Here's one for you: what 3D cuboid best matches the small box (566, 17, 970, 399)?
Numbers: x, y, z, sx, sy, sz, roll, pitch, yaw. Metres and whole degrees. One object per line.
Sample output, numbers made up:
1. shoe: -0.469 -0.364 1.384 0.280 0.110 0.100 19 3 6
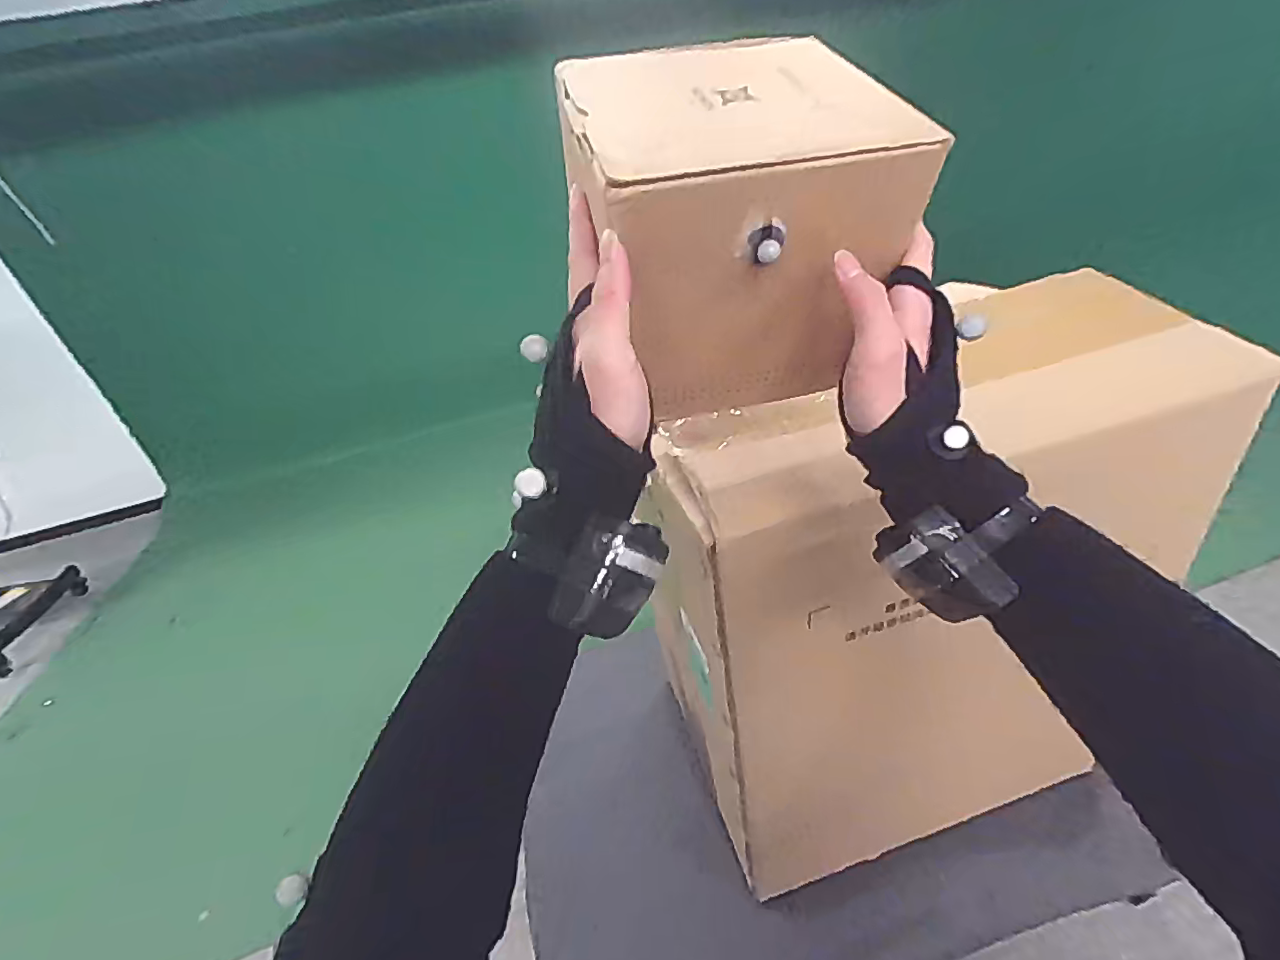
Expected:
1. small box: 0.057 -0.171 0.354 0.179 0.176 0.168 -10 54 -9
